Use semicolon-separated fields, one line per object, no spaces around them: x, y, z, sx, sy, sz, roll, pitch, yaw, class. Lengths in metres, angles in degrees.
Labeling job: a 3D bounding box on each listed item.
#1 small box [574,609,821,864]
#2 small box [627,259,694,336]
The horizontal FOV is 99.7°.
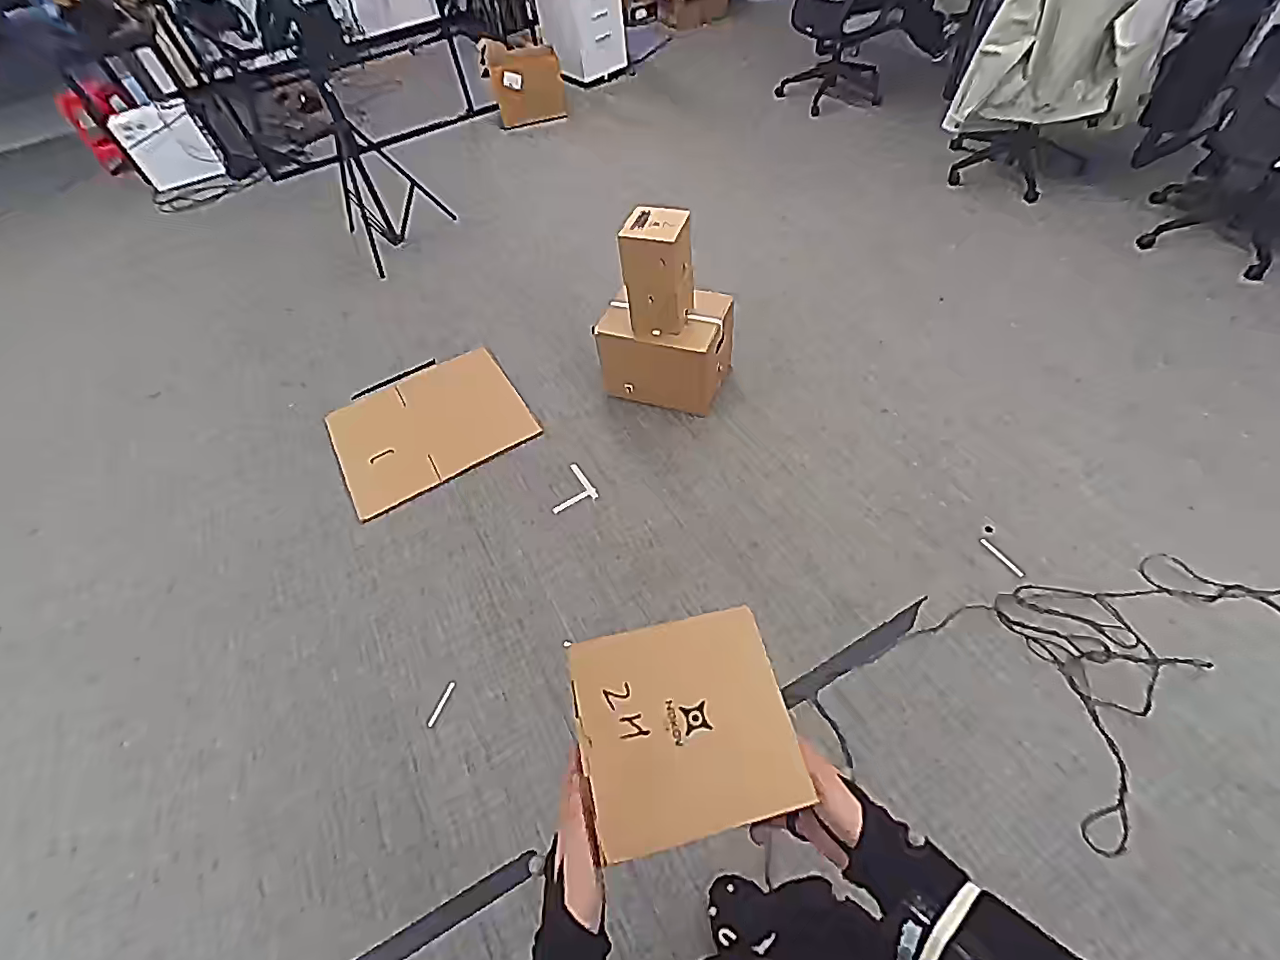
0.036;0.241;0.514;0.179;0.176;0.168;-9;59;-10;small box
0.072;-0.599;1.784;0.179;0.176;0.168;14;58;15;small box
